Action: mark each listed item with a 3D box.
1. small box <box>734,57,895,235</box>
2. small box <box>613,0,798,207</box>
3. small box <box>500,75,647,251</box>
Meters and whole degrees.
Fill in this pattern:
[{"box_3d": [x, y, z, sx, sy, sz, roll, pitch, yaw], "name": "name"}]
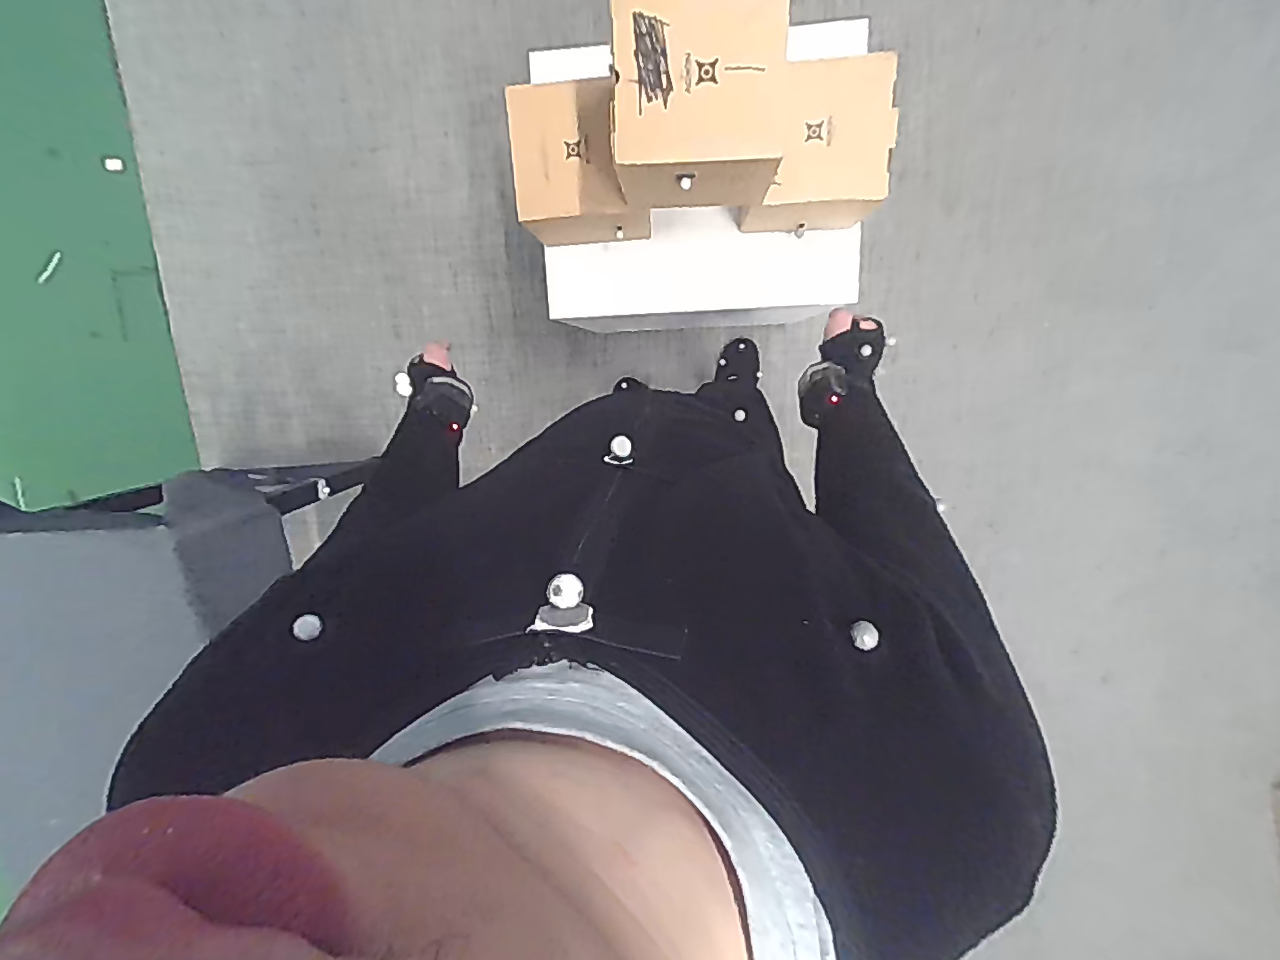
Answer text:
[{"box_3d": [0.230, -0.449, 0.753, 0.179, 0.176, 0.168, -1, 102, 4], "name": "small box"}, {"box_3d": [0.067, -0.414, 0.598, 0.179, 0.176, 0.168, -1, 102, 2], "name": "small box"}, {"box_3d": [-0.083, -0.434, 0.767, 0.179, 0.176, 0.168, -4, 100, 3], "name": "small box"}]
